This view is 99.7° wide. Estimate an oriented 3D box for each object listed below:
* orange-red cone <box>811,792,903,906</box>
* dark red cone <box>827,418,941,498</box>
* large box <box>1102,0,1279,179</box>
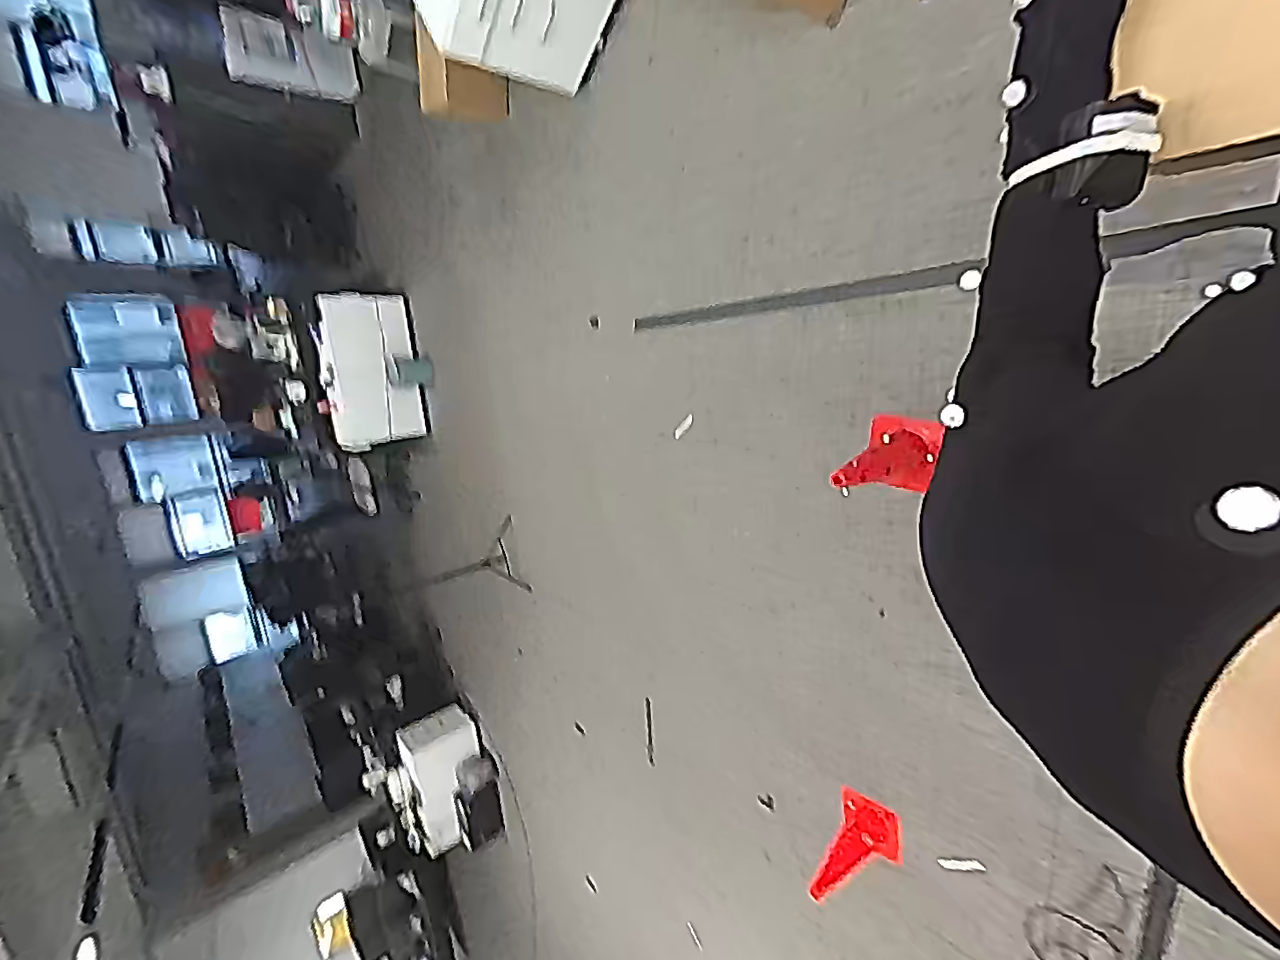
[{"bbox_3d":[0.662,1.220,1.725,0.198,0.360,0.199,7,108,50],"label":"orange-red cone"},{"bbox_3d":[0.590,-0.030,1.375,0.201,0.394,0.202,17,115,45],"label":"dark red cone"},{"bbox_3d":[0.569,-0.405,0.317,0.408,0.320,0.320,11,117,48],"label":"large box"}]
